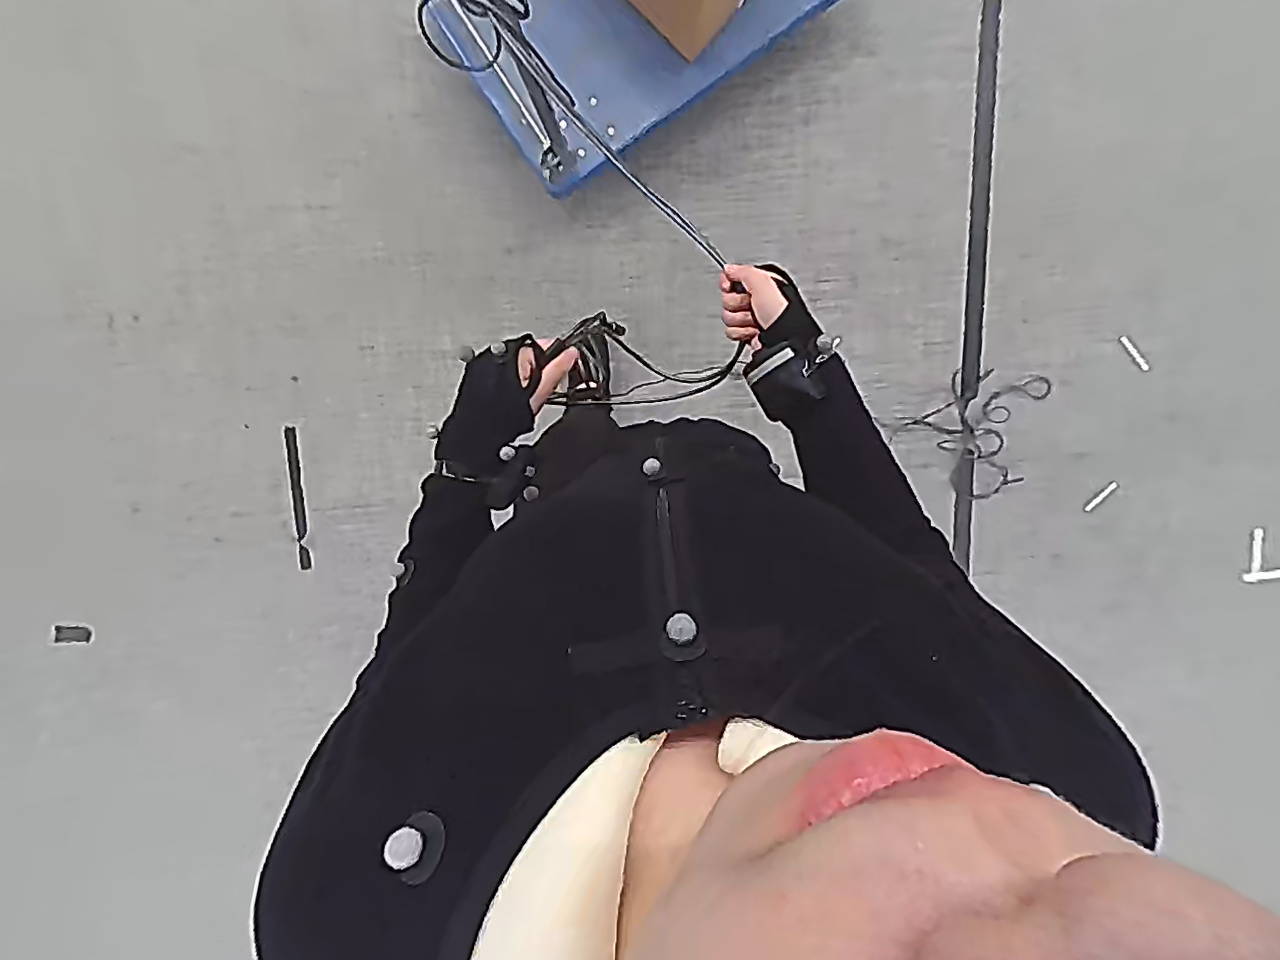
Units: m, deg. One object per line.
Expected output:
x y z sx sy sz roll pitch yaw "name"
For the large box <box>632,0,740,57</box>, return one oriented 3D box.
0.064 -1.115 0.975 0.408 0.320 0.320 41 98 -8 "large box"
